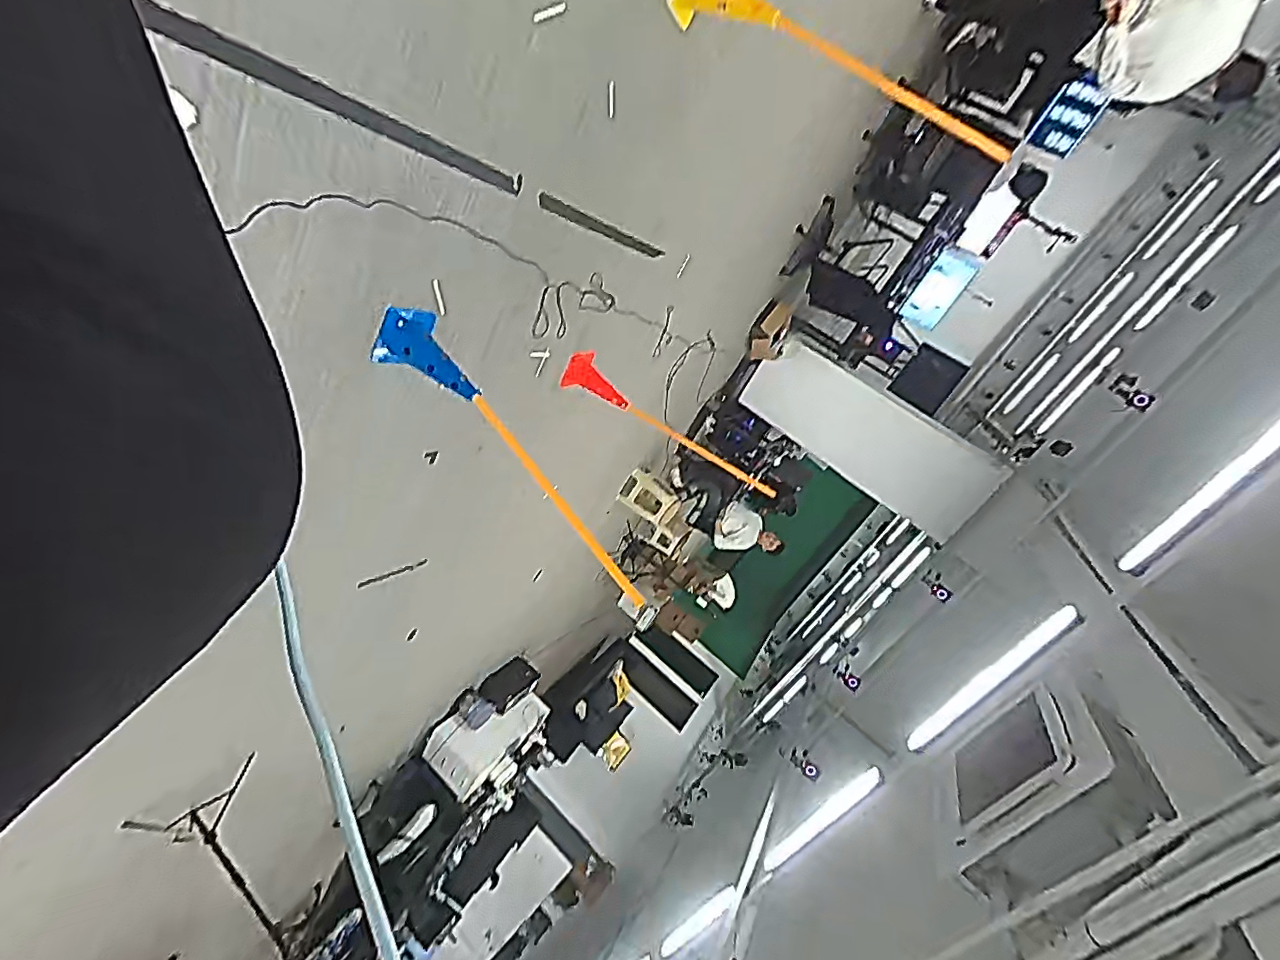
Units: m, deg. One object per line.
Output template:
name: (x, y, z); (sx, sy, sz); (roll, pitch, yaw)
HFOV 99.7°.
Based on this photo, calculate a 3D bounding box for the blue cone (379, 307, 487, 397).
blue cone: (-0.642, -0.385, 1.744); (0.193, 0.380, 0.192); (-58, 164, 21)

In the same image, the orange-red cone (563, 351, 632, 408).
orange-red cone: (-0.184, -0.480, 2.751); (0.198, 0.360, 0.199); (-27, 150, -57)
